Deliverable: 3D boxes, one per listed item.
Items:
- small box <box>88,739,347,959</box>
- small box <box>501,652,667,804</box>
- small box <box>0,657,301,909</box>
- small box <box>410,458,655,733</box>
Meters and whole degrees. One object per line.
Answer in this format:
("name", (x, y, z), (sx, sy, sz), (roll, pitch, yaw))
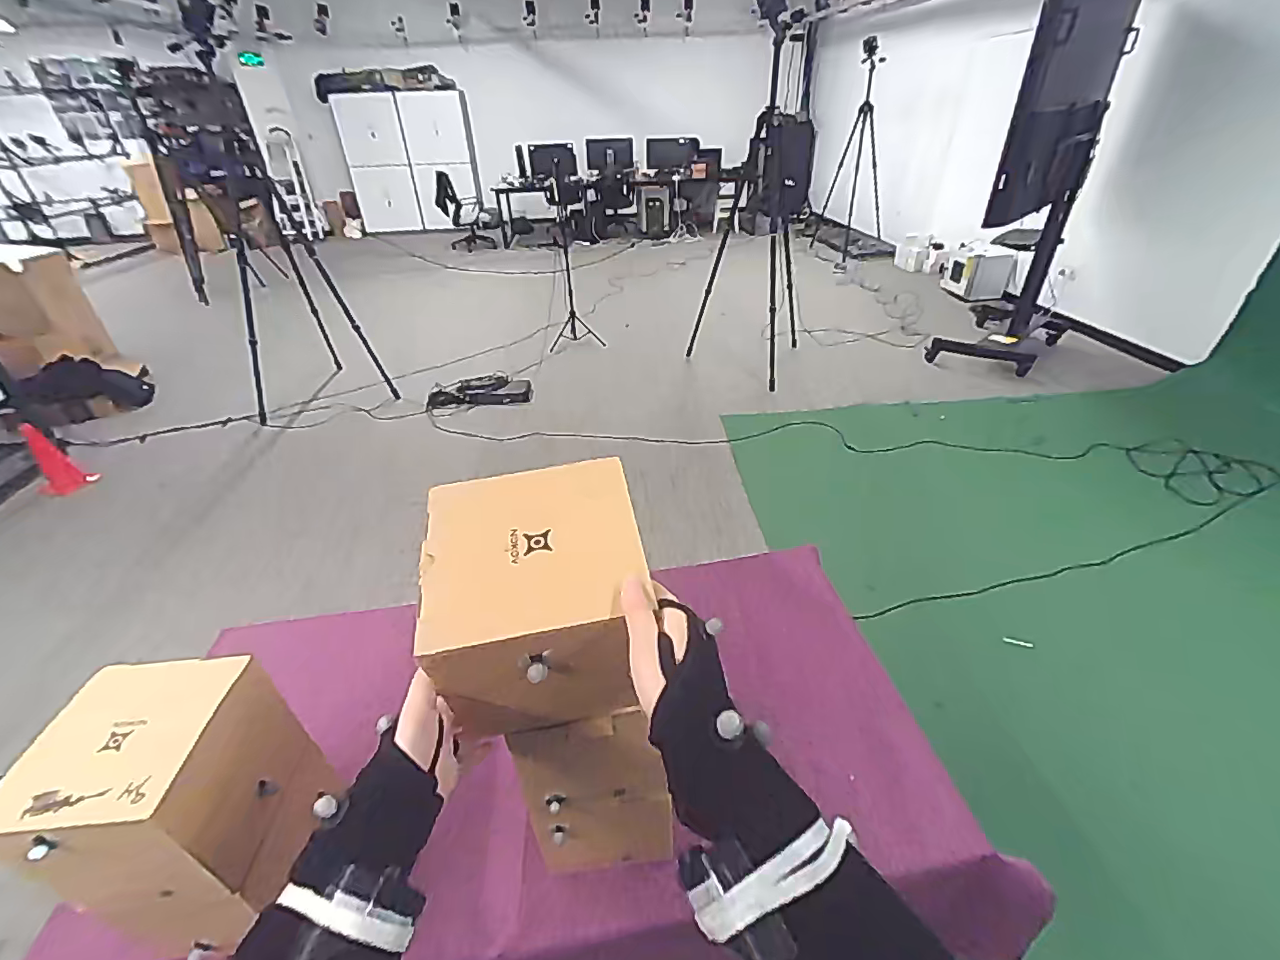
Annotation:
("small box", (-0.497, 0.457, 0.677), (0.168, 0.176, 0.179), (-4, 35, -1))
("small box", (-0.064, 0.256, 0.645), (0.168, 0.176, 0.179), (-7, 33, -6))
("small box", (-0.505, 0.320, 0.584), (0.168, 0.176, 0.179), (-5, 33, -1))
("small box", (-0.086, 0.106, 0.493), (0.179, 0.176, 0.168), (-11, 47, -6))
